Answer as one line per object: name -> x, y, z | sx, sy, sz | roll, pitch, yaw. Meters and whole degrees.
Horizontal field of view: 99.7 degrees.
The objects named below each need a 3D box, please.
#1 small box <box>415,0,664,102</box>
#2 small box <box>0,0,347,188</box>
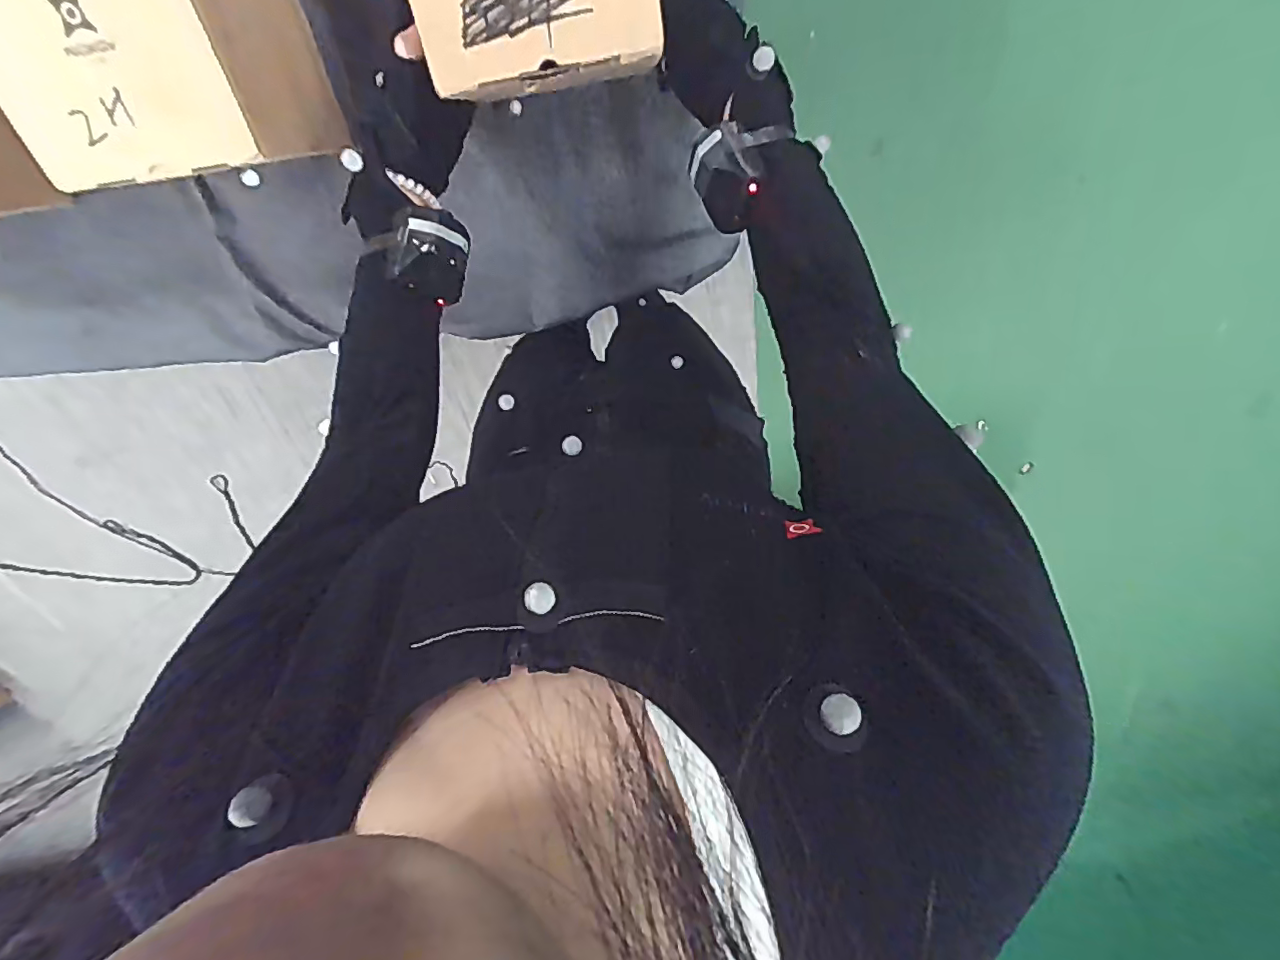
small box -> -0.076, -0.399, 0.402 | 0.168, 0.176, 0.179 | -9, 124, 3
small box -> -0.369, -0.343, 0.422 | 0.168, 0.176, 0.179 | -7, 125, 2
